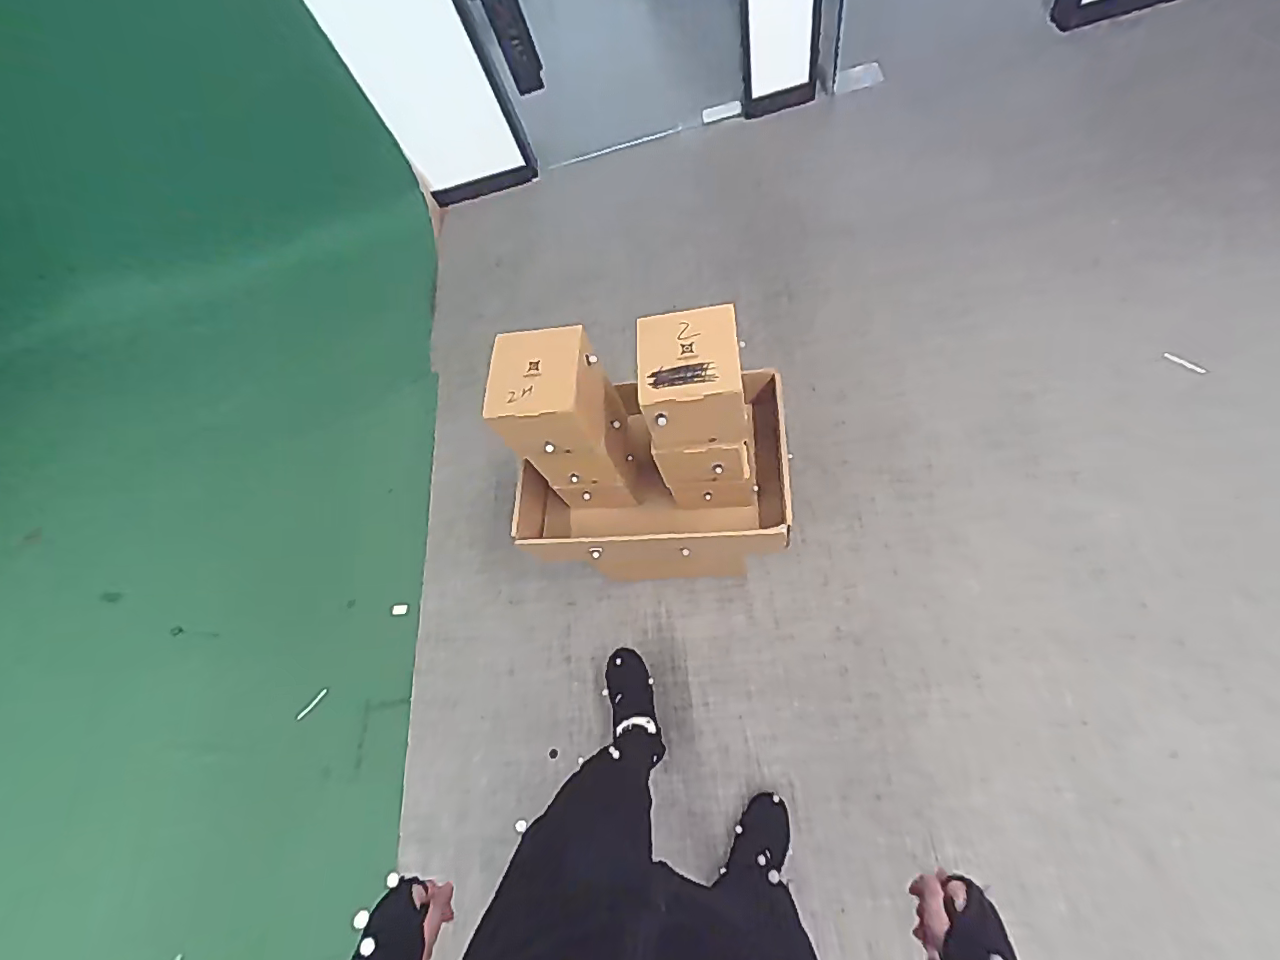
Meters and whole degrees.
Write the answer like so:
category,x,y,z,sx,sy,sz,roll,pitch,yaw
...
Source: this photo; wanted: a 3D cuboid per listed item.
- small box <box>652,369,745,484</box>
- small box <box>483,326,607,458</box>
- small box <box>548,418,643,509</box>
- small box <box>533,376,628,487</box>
category,x,y,z,sx,sy,sz,roll,pitch,yaw
small box,0.122,-0.097,1.080,0.168,0.176,0.179,-2,66,12
small box,-0.163,-0.156,0.994,0.168,0.176,0.179,-2,66,12
small box,-0.099,-0.034,1.292,0.179,0.176,0.168,-2,66,12
small box,-0.125,-0.097,1.142,0.168,0.176,0.179,-2,67,12
